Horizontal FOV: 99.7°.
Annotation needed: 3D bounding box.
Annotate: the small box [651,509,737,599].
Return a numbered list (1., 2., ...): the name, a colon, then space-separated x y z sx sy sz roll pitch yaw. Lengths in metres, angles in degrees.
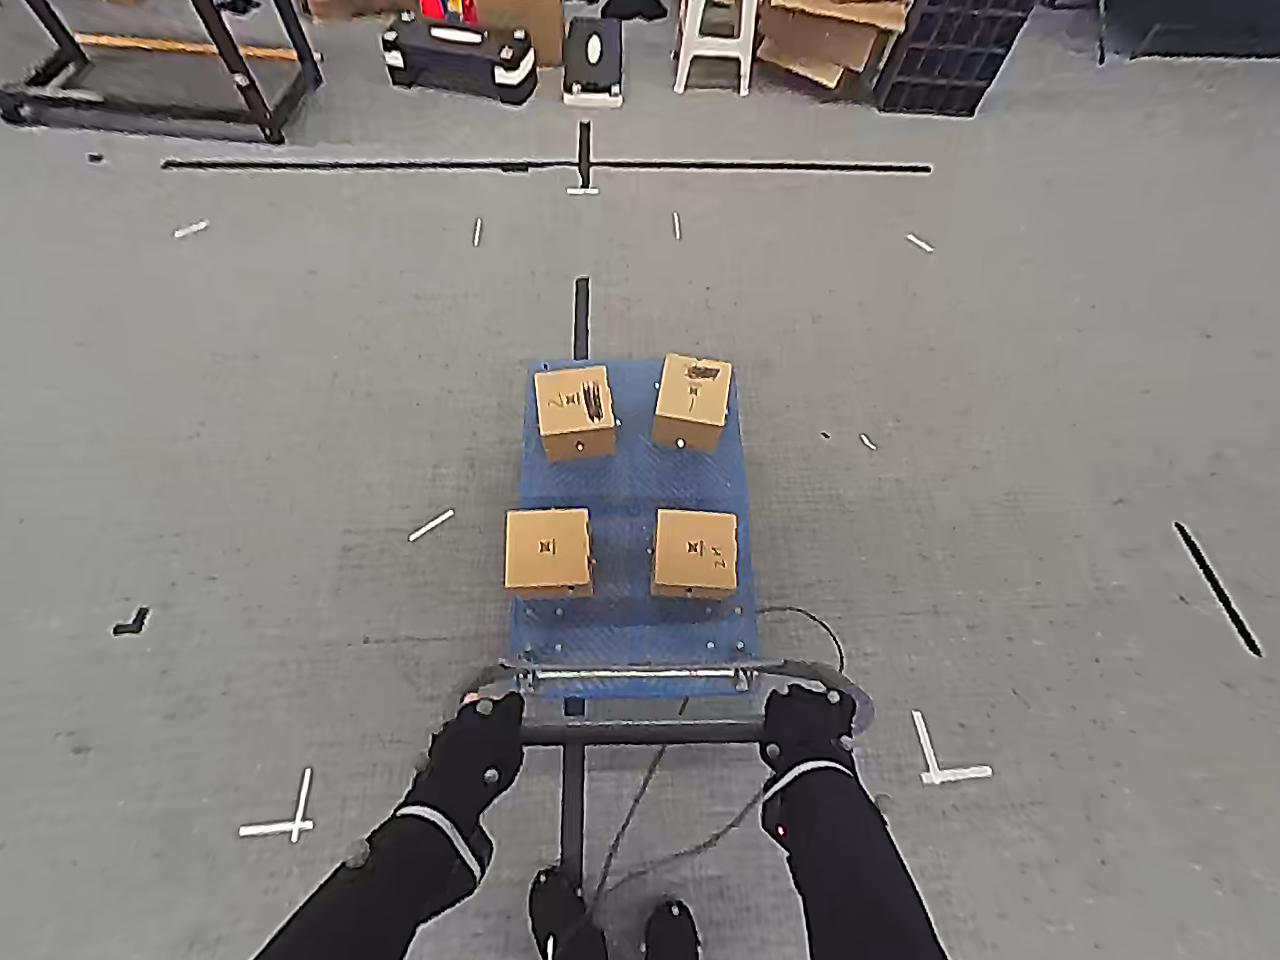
1. small box: 0.118 0.174 1.232 0.179 0.176 0.168 5 70 -1

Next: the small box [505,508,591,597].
1. small box: -0.200 0.167 1.219 0.179 0.176 0.168 -1 69 -5

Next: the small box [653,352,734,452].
1. small box: 0.130 -0.192 1.370 0.168 0.176 0.179 11 70 1
